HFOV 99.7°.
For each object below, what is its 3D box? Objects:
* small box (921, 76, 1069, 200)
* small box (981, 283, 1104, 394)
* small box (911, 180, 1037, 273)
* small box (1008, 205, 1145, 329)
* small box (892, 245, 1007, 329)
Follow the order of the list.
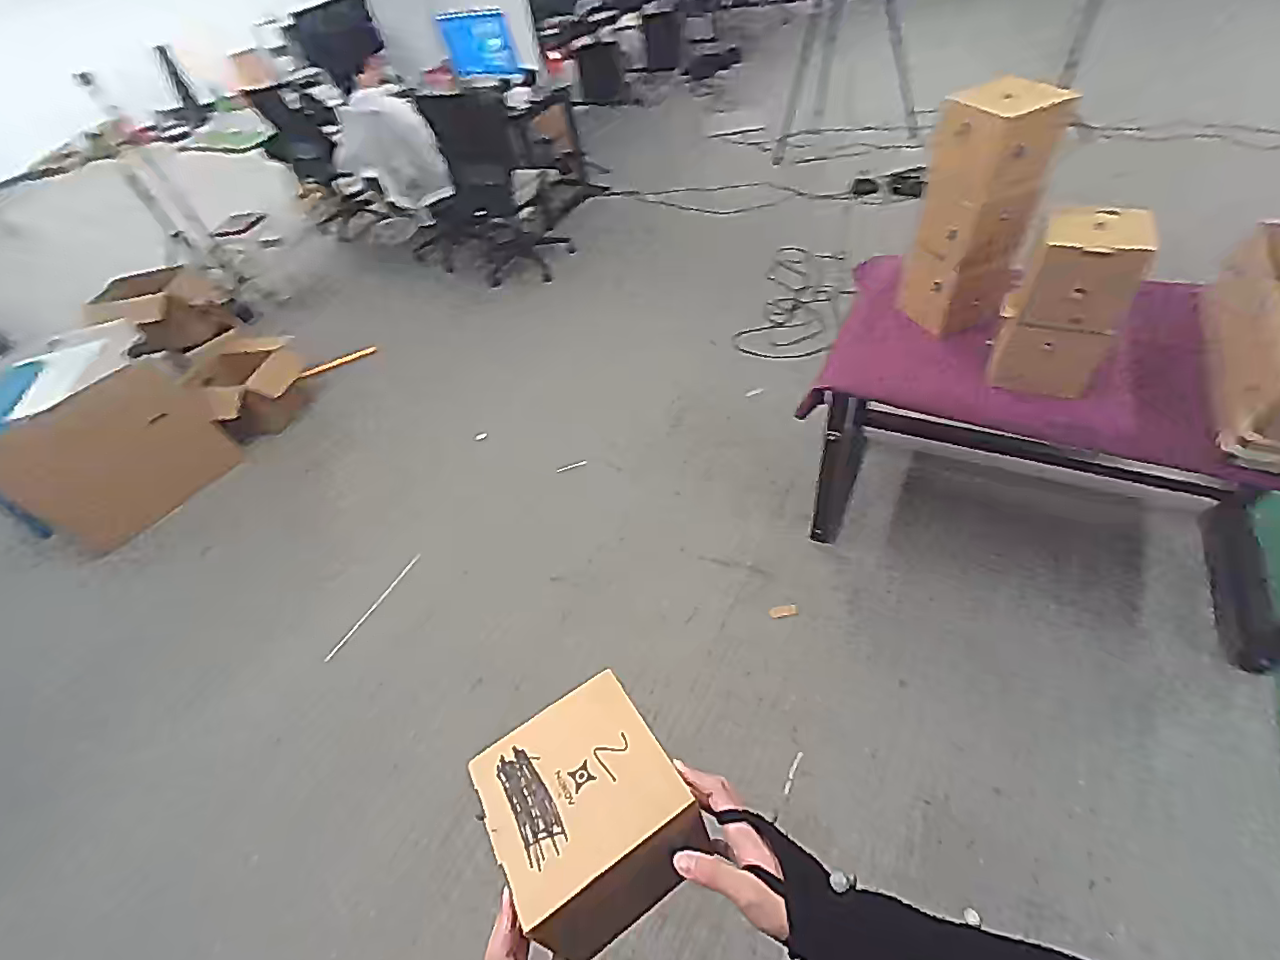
[{"bbox_3d":[0.739,-0.719,1.148,0.168,0.176,0.179,-22,50,-7],"label":"small box"},{"bbox_3d":[0.884,-0.313,1.200,0.179,0.176,0.168,16,53,22],"label":"small box"},{"bbox_3d":[0.766,-0.613,1.267,0.179,0.176,0.168,-20,50,-7],"label":"small box"},{"bbox_3d":[0.863,-0.424,1.082,0.168,0.176,0.179,16,54,23],"label":"small box"},{"bbox_3d":[0.782,-0.507,1.389,0.168,0.176,0.179,-20,49,-7],"label":"small box"}]
